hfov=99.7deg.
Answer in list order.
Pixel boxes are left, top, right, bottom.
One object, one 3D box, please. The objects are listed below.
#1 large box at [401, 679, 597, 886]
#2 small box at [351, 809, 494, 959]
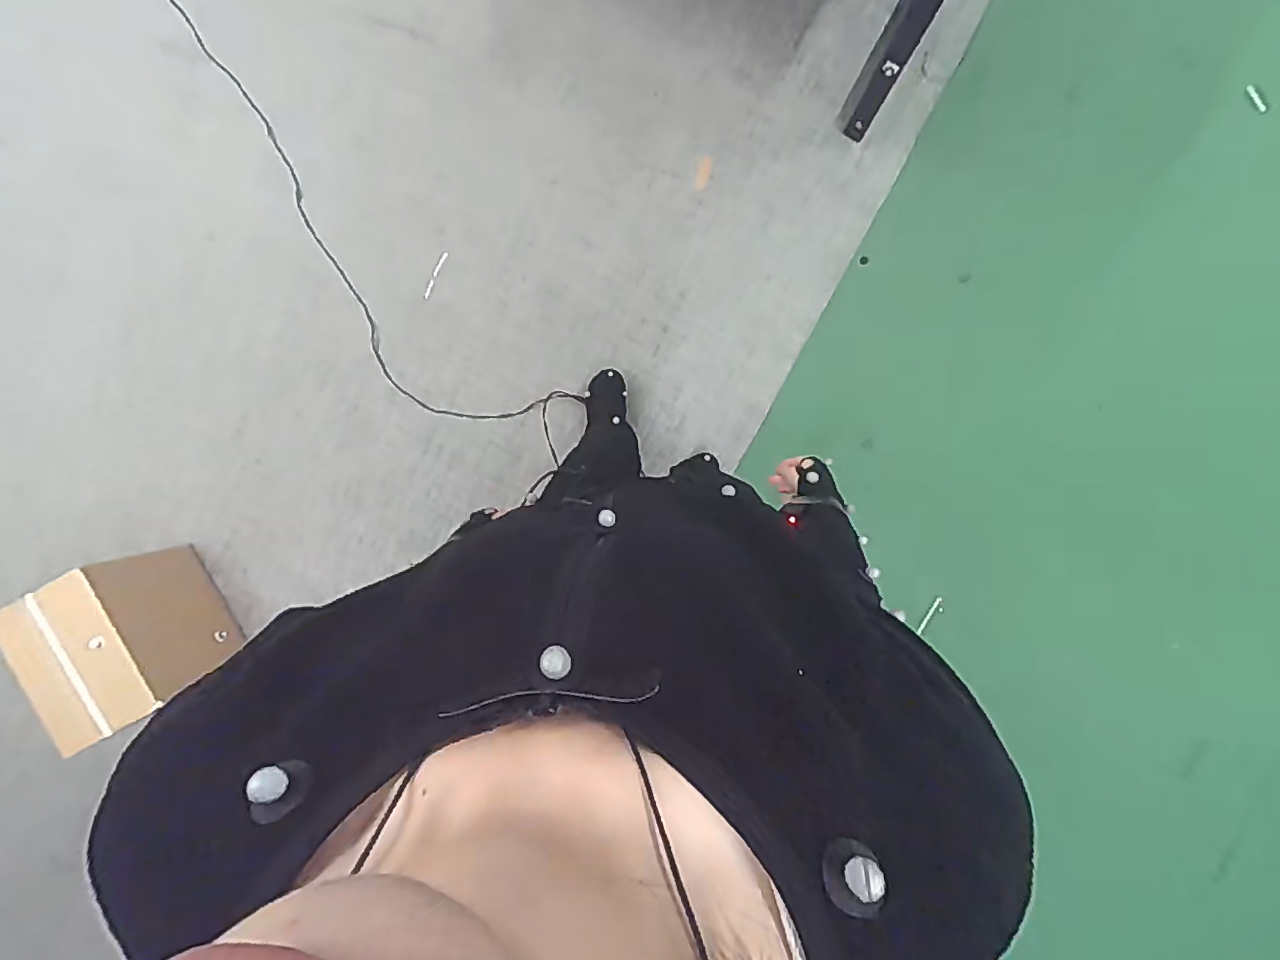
[{"bbox_3d":[-0.353,0.774,1.434,0.408,0.320,0.320,14,96,1],"label":"large box"},{"bbox_3d":[-0.400,0.771,1.026,0.179,0.176,0.168,21,95,2],"label":"small box"}]
